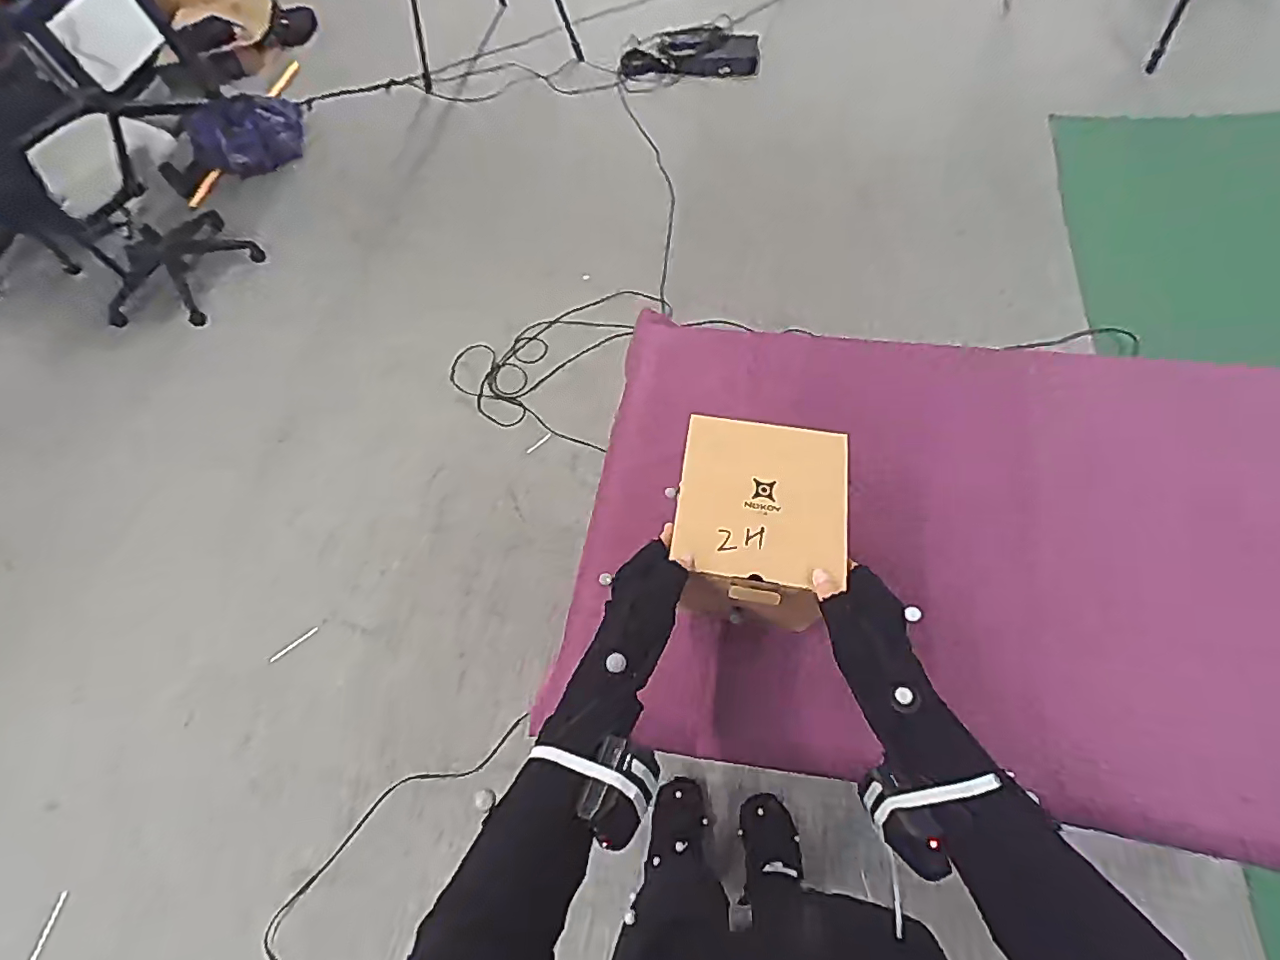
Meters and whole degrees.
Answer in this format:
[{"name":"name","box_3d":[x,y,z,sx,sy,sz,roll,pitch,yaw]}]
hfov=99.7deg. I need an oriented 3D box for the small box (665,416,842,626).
[{"name":"small box","box_3d":[0.121,0.053,0.615,0.168,0.176,0.179,8,65,6]}]
